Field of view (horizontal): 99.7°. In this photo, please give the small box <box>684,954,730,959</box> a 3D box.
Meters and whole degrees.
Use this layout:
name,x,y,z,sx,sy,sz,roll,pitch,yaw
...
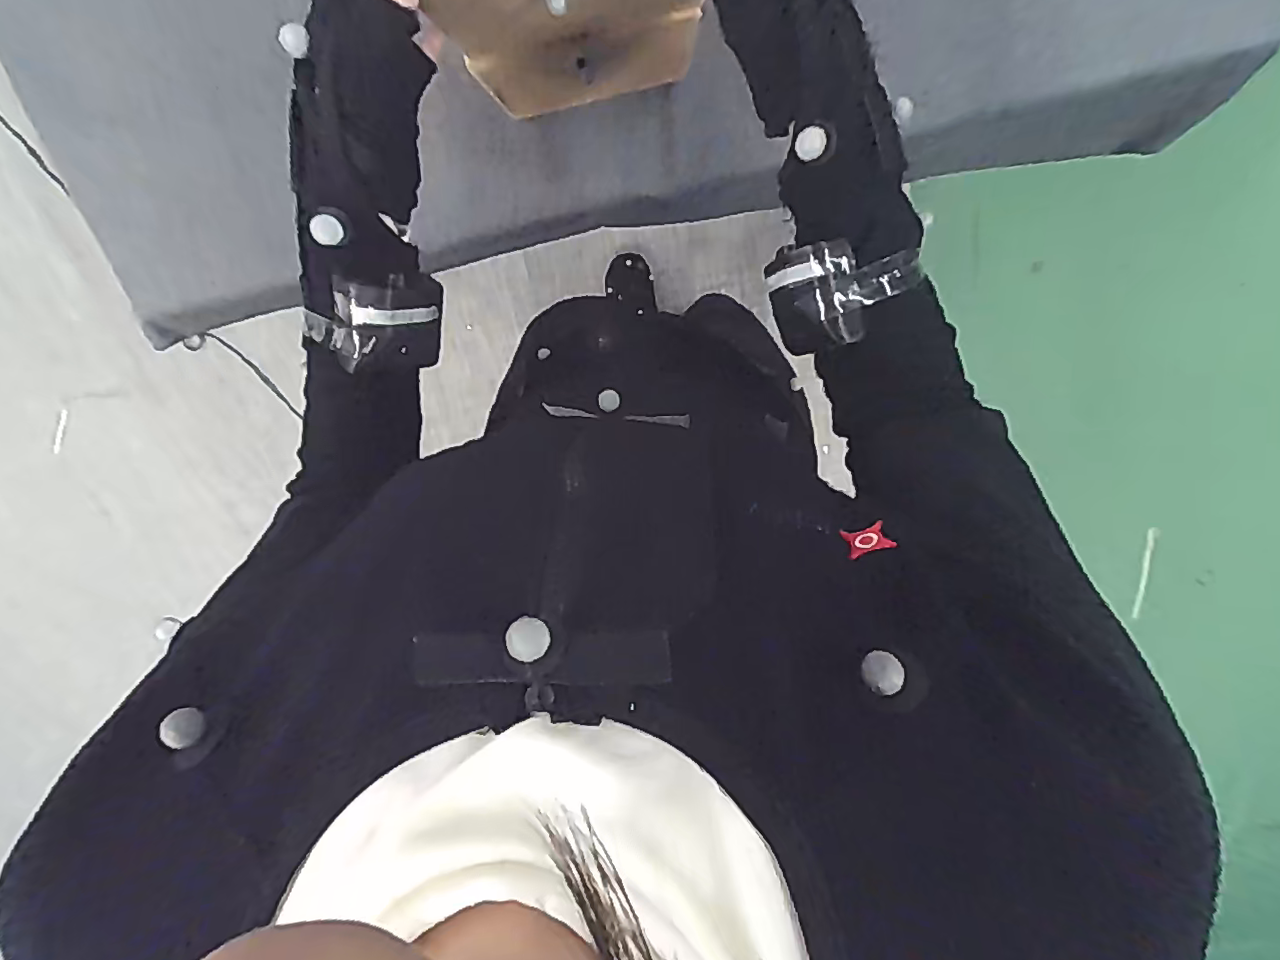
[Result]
name,x,y,z,sx,sy,sz,roll,pitch,yaw
small box,0.247,1.762,1.844,0.168,0.176,0.179,-13,112,6

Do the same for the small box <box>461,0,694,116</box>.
name,x,y,z,sx,sy,sz,roll,pitch,yaw
small box,-0.060,-0.421,0.439,0.179,0.176,0.168,-11,114,3

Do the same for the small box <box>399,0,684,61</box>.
name,x,y,z,sx,sy,sz,roll,pitch,yaw
small box,-0.057,-0.358,0.287,0.179,0.176,0.168,-9,114,5
